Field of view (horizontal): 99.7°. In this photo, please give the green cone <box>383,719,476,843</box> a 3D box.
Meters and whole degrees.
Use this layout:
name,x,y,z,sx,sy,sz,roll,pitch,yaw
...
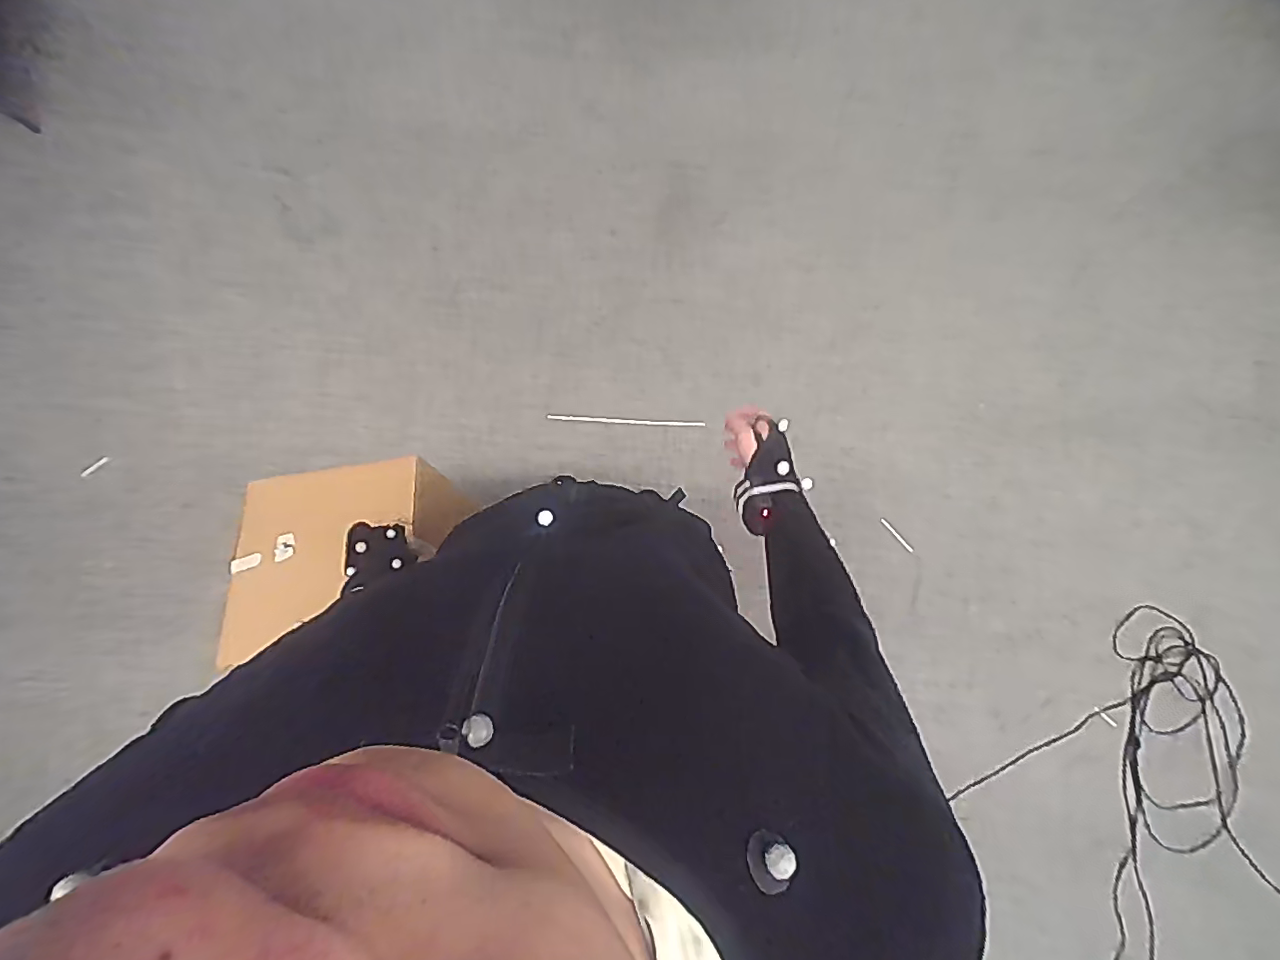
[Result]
name,x,y,z,sx,sy,sz,roll,pitch,yaw
green cone,-0.595,0.827,1.450,0.200,0.368,0.202,9,91,-2

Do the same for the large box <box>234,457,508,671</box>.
name,x,y,z,sx,sy,sz,roll,pitch,yaw
large box,-0.479,0.190,1.051,0.320,0.408,0.320,-8,68,4
